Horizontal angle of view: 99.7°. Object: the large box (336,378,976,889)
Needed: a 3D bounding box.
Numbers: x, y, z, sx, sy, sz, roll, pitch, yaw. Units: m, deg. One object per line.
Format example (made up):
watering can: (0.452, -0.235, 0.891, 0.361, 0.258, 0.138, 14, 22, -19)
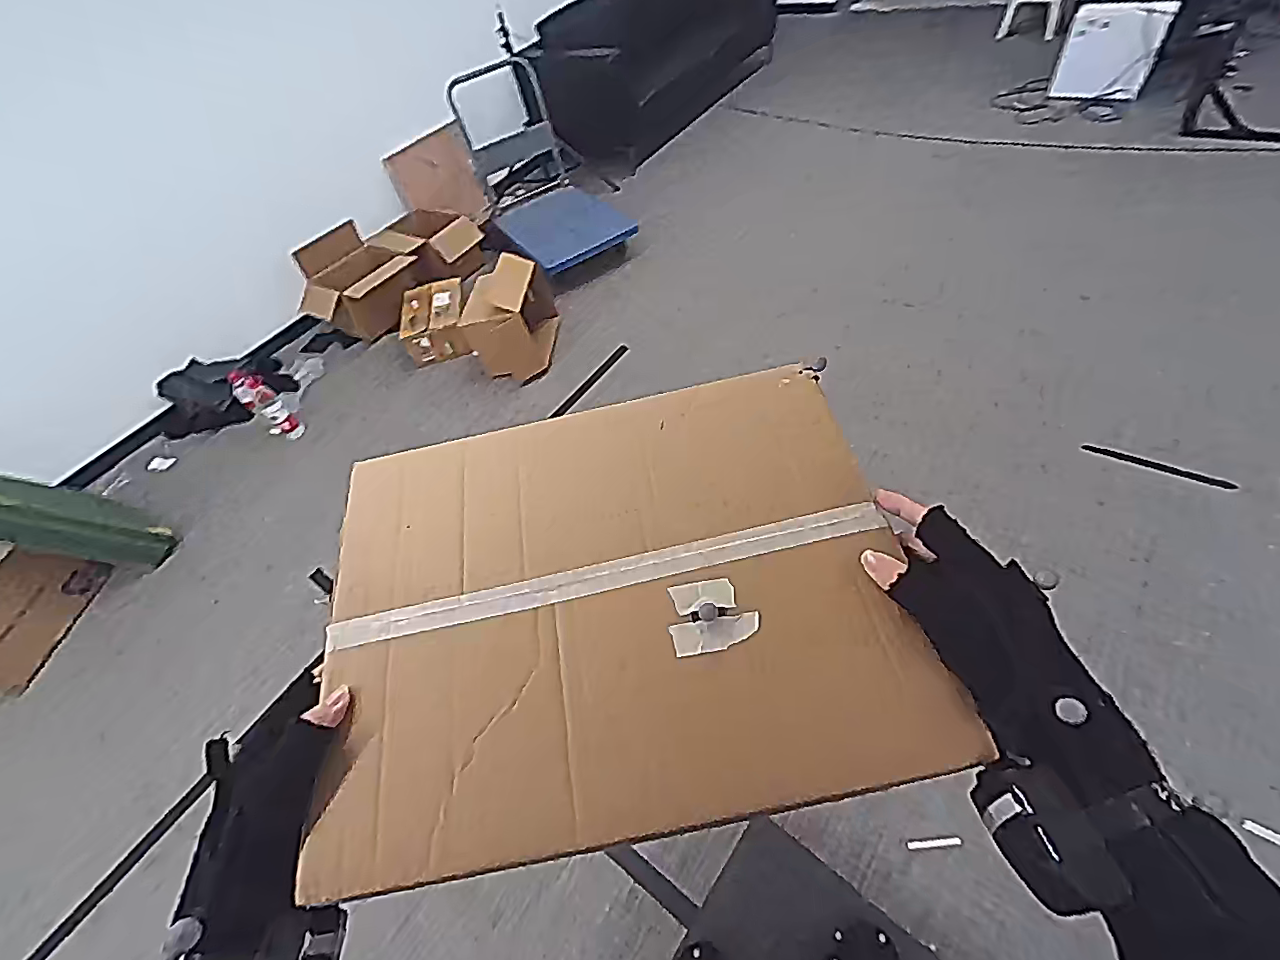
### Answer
large box: (0.000, 0.155, 0.526, 0.408, 0.320, 0.320, -12, 58, 1)
